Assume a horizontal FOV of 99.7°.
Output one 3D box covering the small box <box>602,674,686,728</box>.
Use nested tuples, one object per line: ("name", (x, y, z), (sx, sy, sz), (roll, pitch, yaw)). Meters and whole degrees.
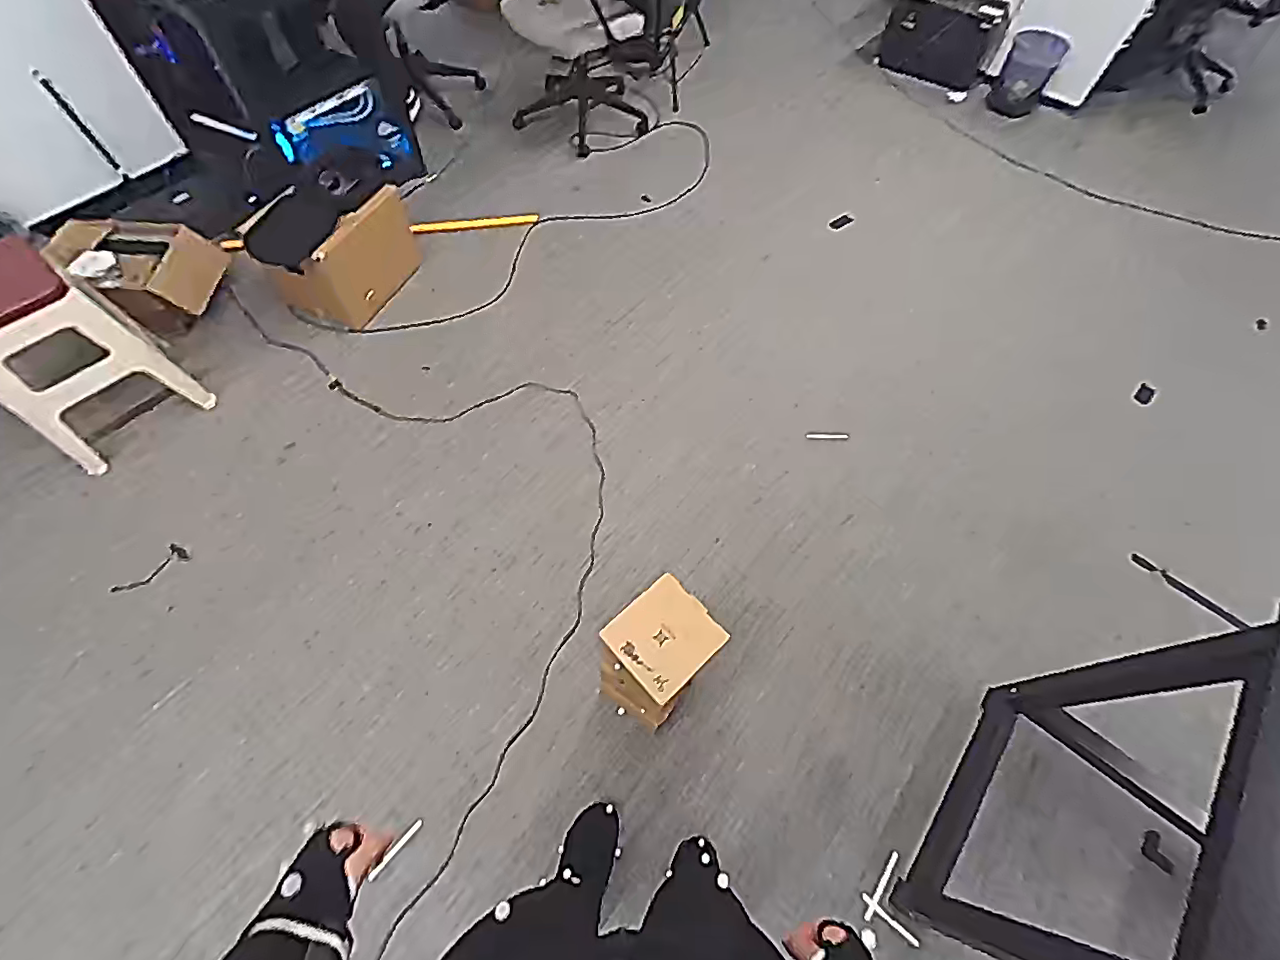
("small box", (0.021, 0.476, 1.316), (0.168, 0.176, 0.179), (33, 65, 15))

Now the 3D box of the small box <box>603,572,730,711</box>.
("small box", (0.041, 0.312, 1.034), (0.179, 0.176, 0.168), (-38, 70, -22))

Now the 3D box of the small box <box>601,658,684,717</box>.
("small box", (0.031, 0.391, 1.178), (0.168, 0.176, 0.179), (31, 62, 12))
